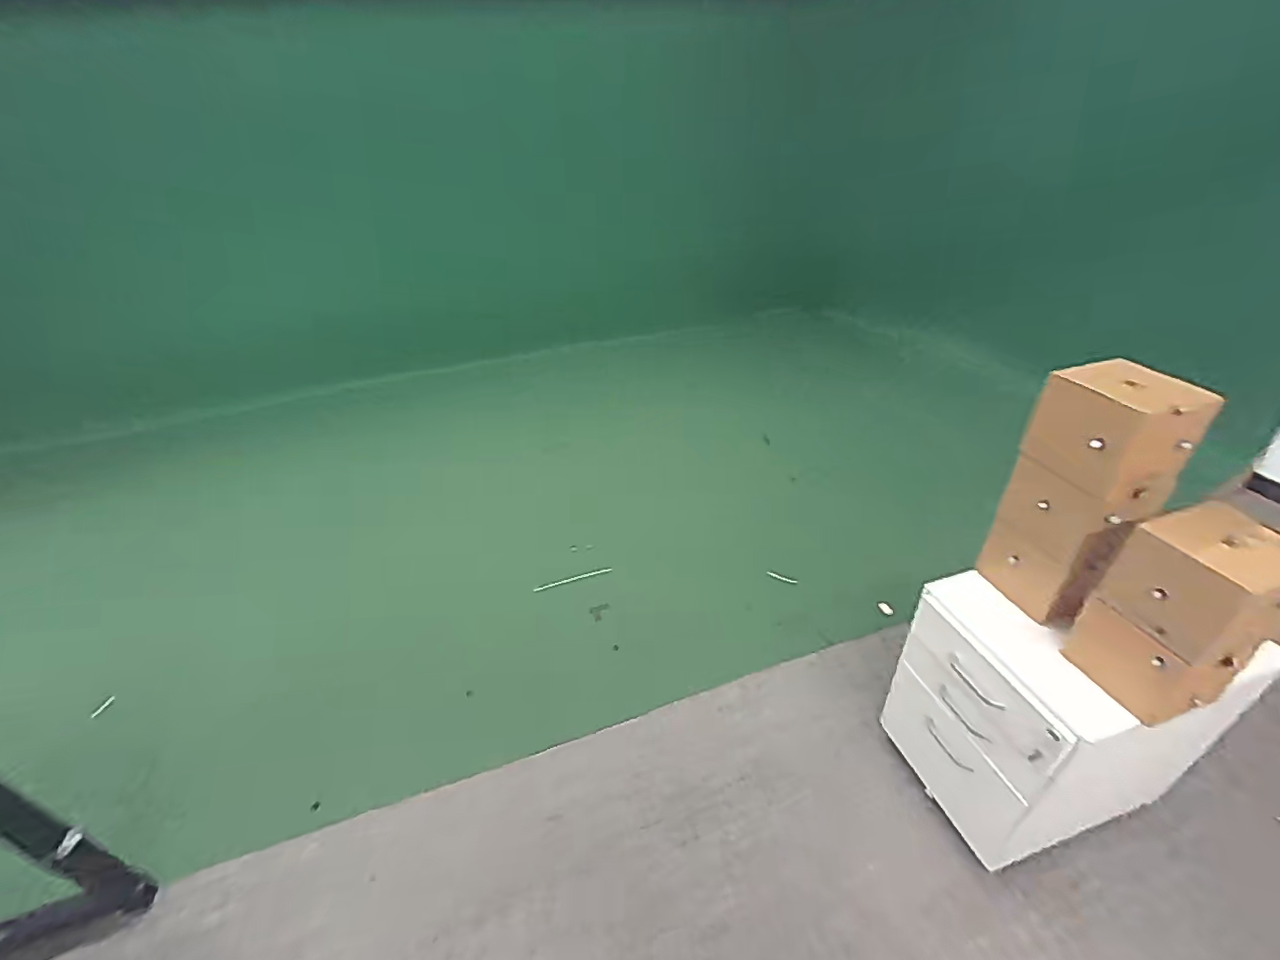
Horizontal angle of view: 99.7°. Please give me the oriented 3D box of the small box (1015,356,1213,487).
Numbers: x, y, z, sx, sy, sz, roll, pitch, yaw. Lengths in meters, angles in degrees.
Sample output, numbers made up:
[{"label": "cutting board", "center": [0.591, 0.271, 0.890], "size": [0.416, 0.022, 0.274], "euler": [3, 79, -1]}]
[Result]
[{"label": "small box", "center": [0.833, -0.101, 0.972], "size": [0.168, 0.176, 0.179], "euler": [-12, 36, -12]}]

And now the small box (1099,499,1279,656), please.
[{"label": "small box", "center": [0.906, 0.159, 0.881], "size": [0.179, 0.176, 0.168], "euler": [-12, 36, -12]}]

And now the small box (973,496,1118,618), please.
[{"label": "small box", "center": [0.863, 0.164, 1.163], "size": [0.168, 0.176, 0.179], "euler": [-14, 38, -12]}]
